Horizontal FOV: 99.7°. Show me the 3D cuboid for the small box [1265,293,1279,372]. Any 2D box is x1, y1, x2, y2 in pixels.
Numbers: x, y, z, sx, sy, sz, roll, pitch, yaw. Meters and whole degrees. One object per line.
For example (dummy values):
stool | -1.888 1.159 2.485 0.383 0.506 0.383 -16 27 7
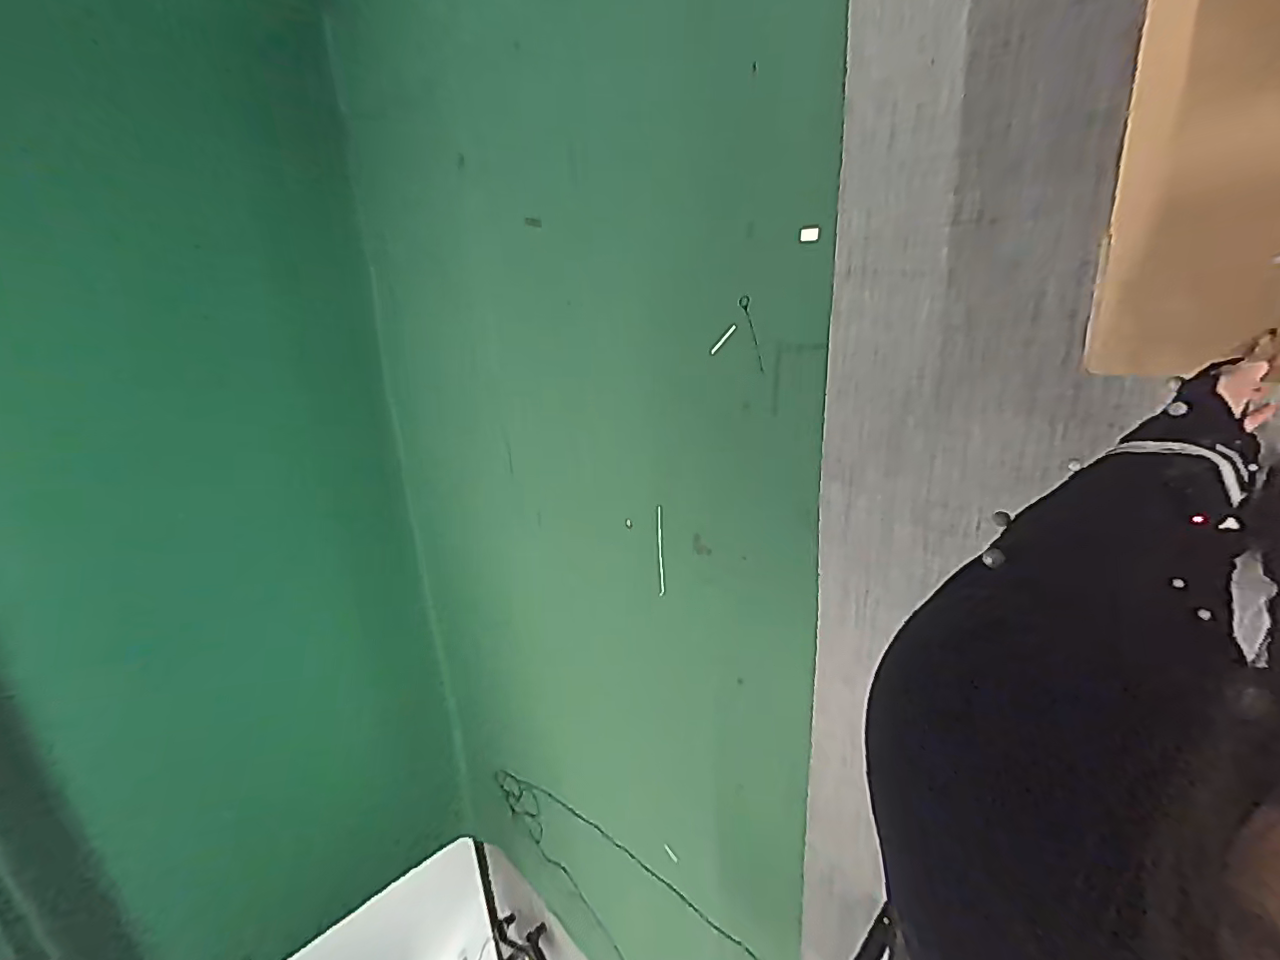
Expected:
small box | 0.640 -0.172 0.427 0.168 0.176 0.179 15 100 45
